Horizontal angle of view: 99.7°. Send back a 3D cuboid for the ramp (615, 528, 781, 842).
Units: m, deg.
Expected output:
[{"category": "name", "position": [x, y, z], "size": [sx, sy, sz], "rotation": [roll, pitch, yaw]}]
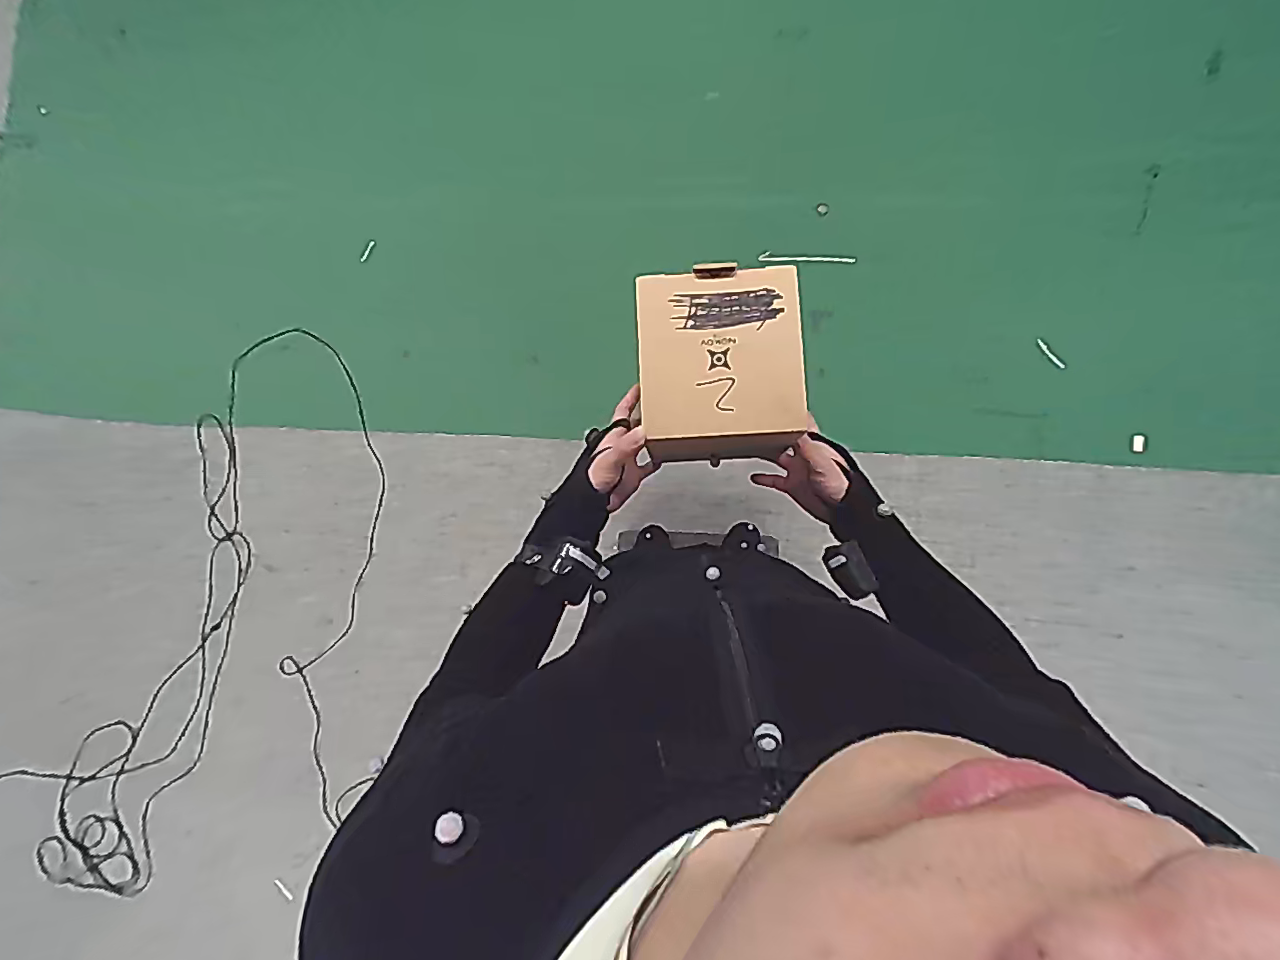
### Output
[{"category": "ramp", "position": [0.169, 0.649, 1.685], "size": [0.509, 0.206, 0.991], "rotation": [1, 87, 7]}]
